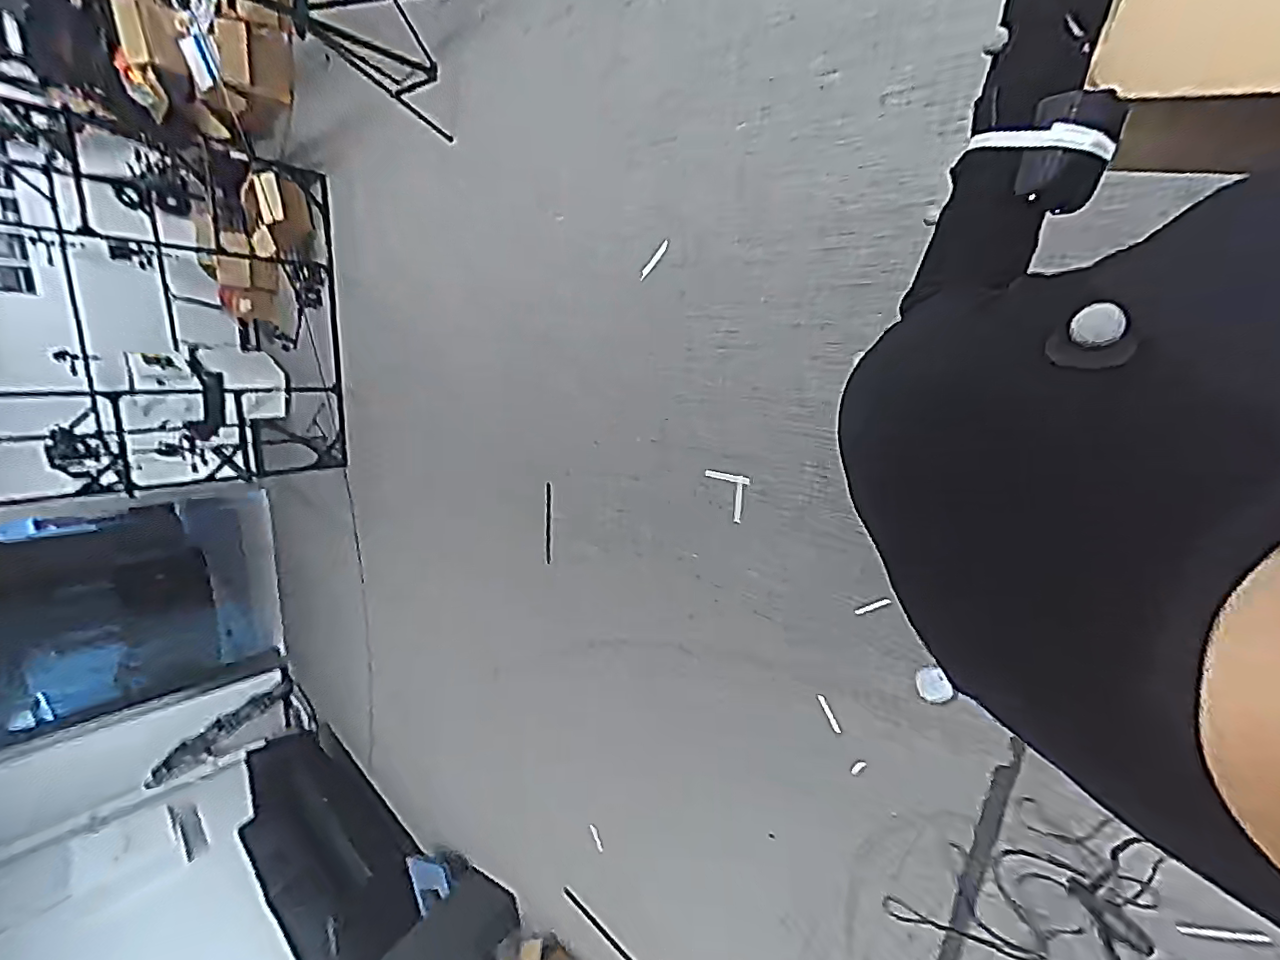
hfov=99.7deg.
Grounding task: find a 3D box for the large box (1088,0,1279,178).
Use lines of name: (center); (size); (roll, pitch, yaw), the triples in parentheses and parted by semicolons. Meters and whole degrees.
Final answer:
large box: (0.571, -0.380, 0.323); (0.408, 0.320, 0.320); (22, 119, 32)
